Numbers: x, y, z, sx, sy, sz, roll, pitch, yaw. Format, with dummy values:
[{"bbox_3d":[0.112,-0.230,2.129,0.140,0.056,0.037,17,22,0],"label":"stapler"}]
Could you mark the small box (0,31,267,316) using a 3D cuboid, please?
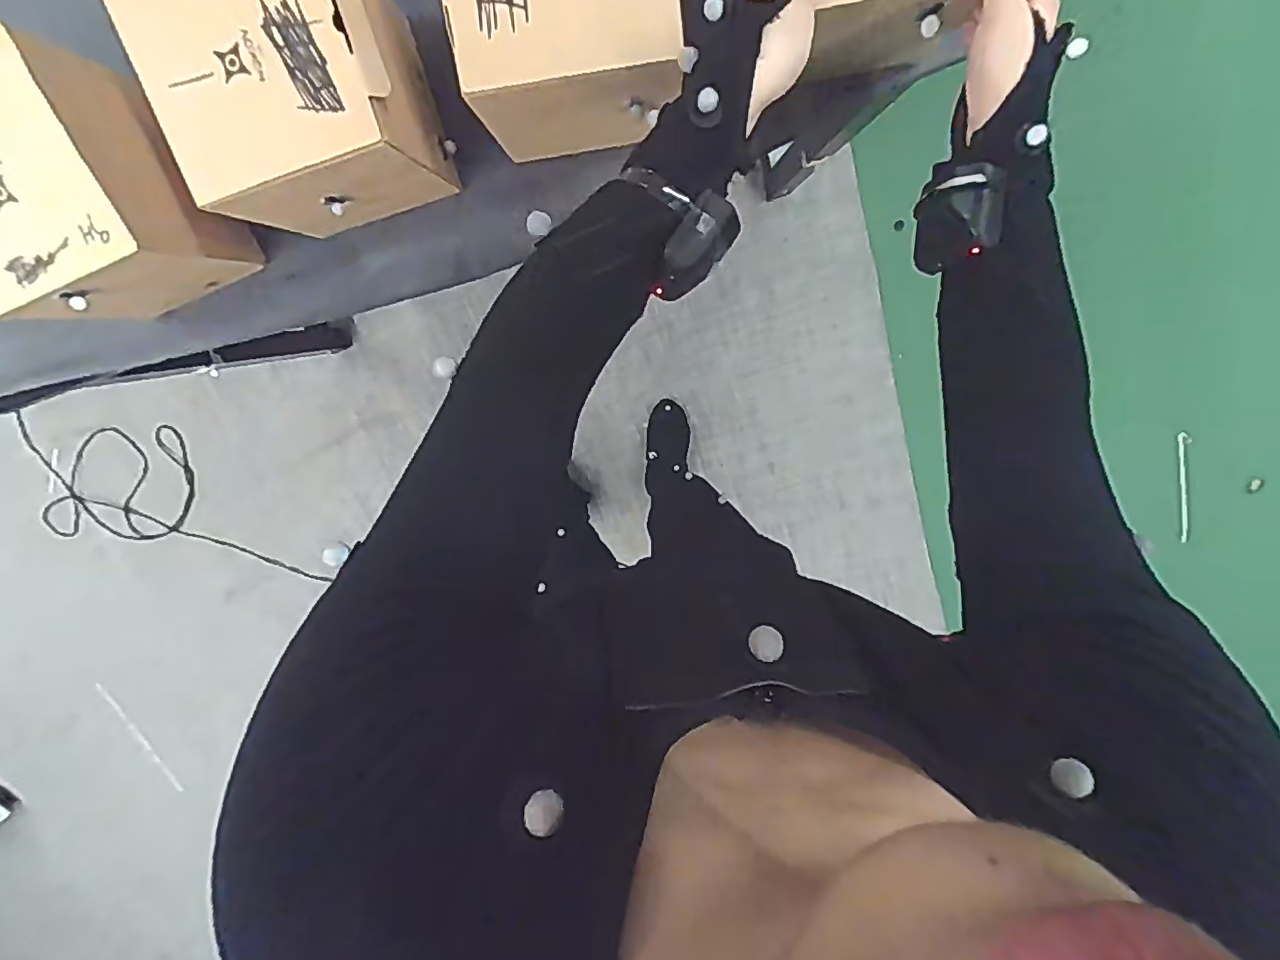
[{"bbox_3d":[-0.524,-0.269,0.525,0.168,0.176,0.179,-18,105,8],"label":"small box"}]
